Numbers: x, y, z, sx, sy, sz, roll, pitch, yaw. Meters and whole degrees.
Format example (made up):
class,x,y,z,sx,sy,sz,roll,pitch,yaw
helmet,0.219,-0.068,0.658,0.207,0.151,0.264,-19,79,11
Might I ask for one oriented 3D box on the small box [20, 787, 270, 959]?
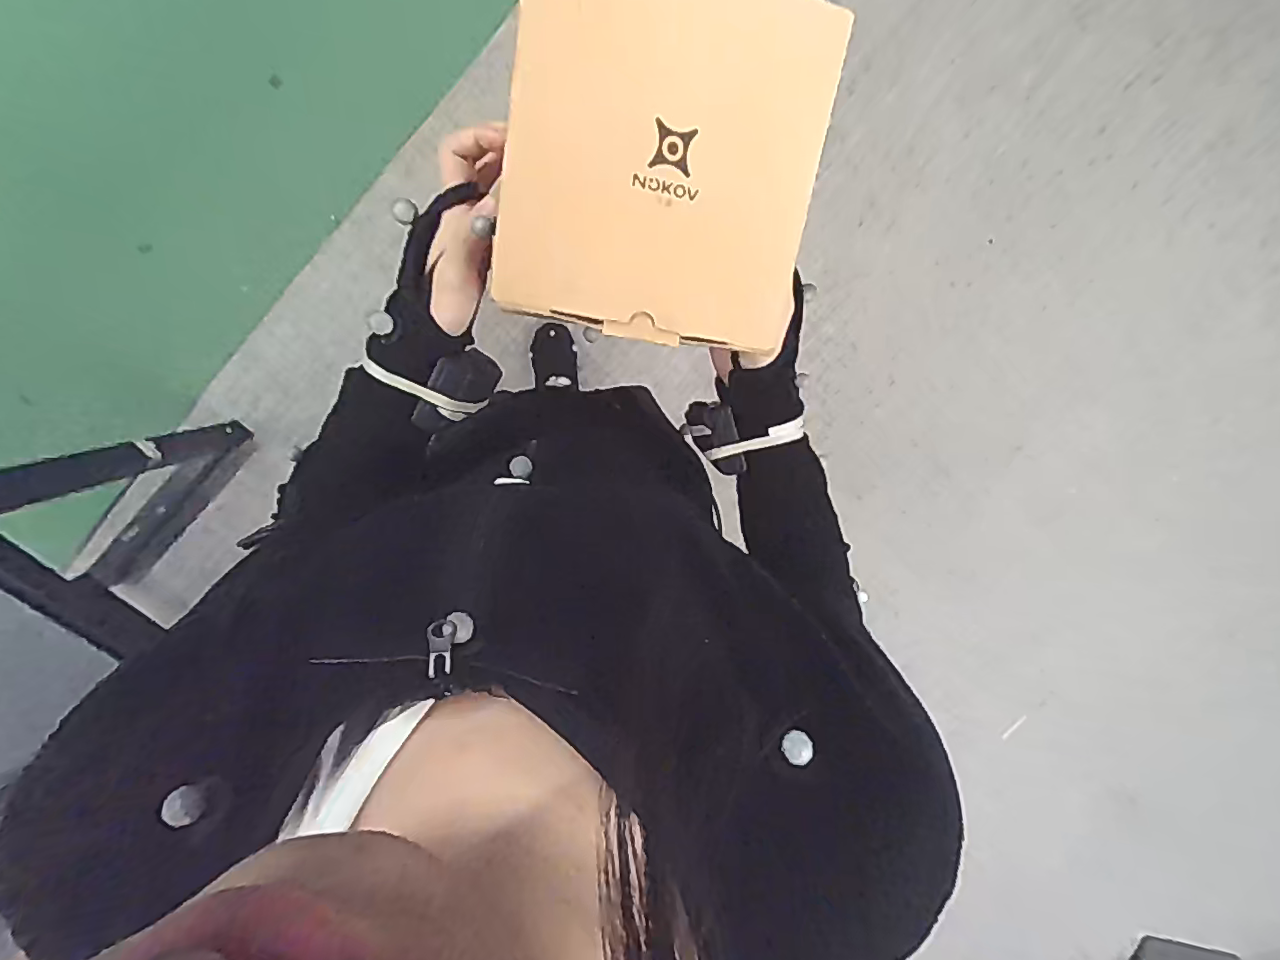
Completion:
class,x,y,z,sx,sy,sz,roll,pitch,yaw
small box,-0.675,0.587,0.759,0.168,0.176,0.179,42,97,-14

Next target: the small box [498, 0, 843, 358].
class,x,y,z,sx,sy,sz,roll,pitch,yaw
small box,-0.001,-0.189,0.361,0.168,0.176,0.179,6,106,-14
